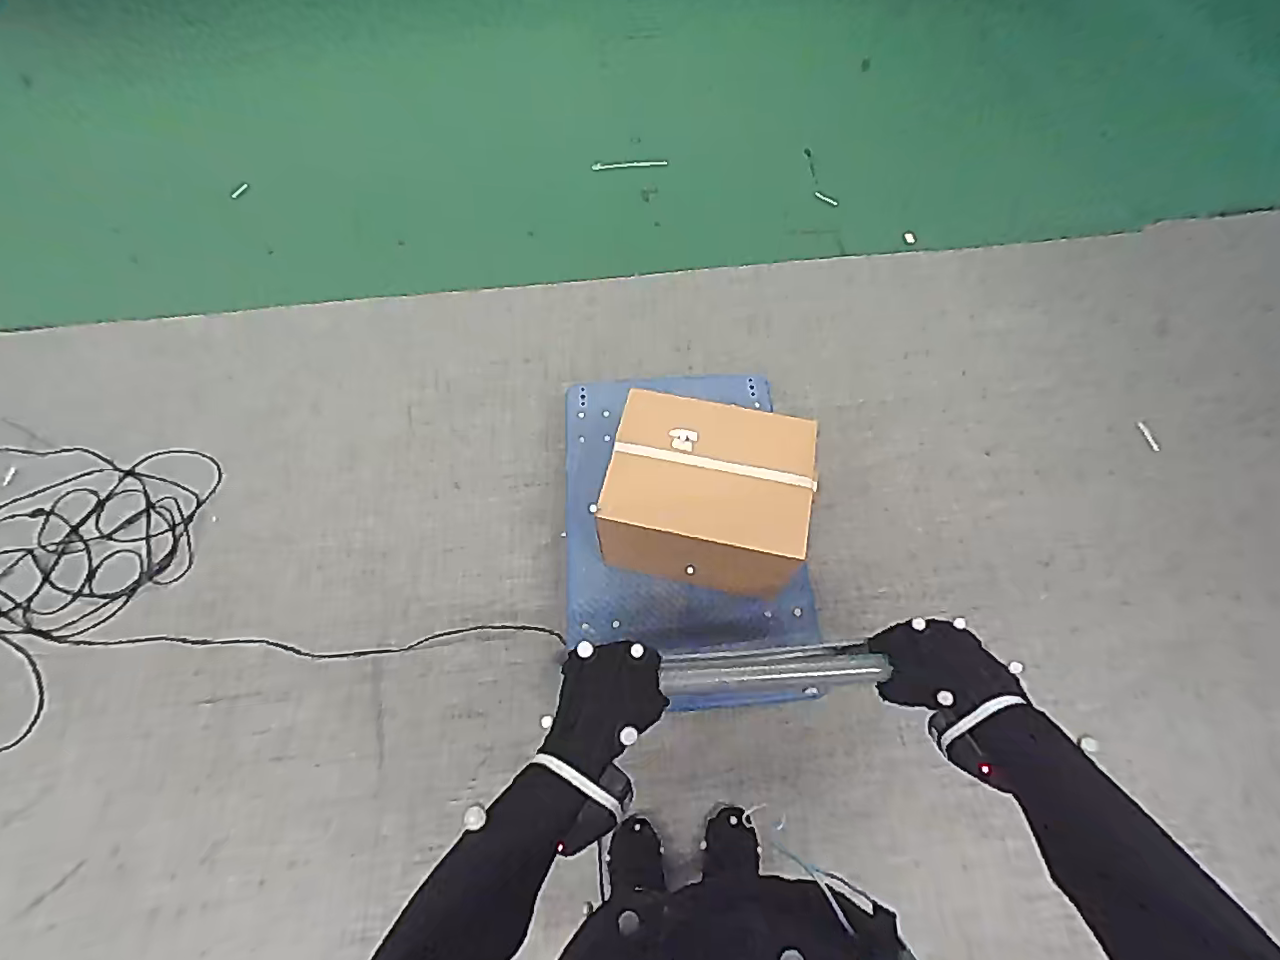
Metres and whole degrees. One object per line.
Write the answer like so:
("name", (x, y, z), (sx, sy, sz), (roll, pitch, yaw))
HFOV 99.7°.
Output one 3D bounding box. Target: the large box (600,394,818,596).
("large box", (0.153, 0.045, 1.210), (0.408, 0.320, 0.320), (11, 64, 7))
